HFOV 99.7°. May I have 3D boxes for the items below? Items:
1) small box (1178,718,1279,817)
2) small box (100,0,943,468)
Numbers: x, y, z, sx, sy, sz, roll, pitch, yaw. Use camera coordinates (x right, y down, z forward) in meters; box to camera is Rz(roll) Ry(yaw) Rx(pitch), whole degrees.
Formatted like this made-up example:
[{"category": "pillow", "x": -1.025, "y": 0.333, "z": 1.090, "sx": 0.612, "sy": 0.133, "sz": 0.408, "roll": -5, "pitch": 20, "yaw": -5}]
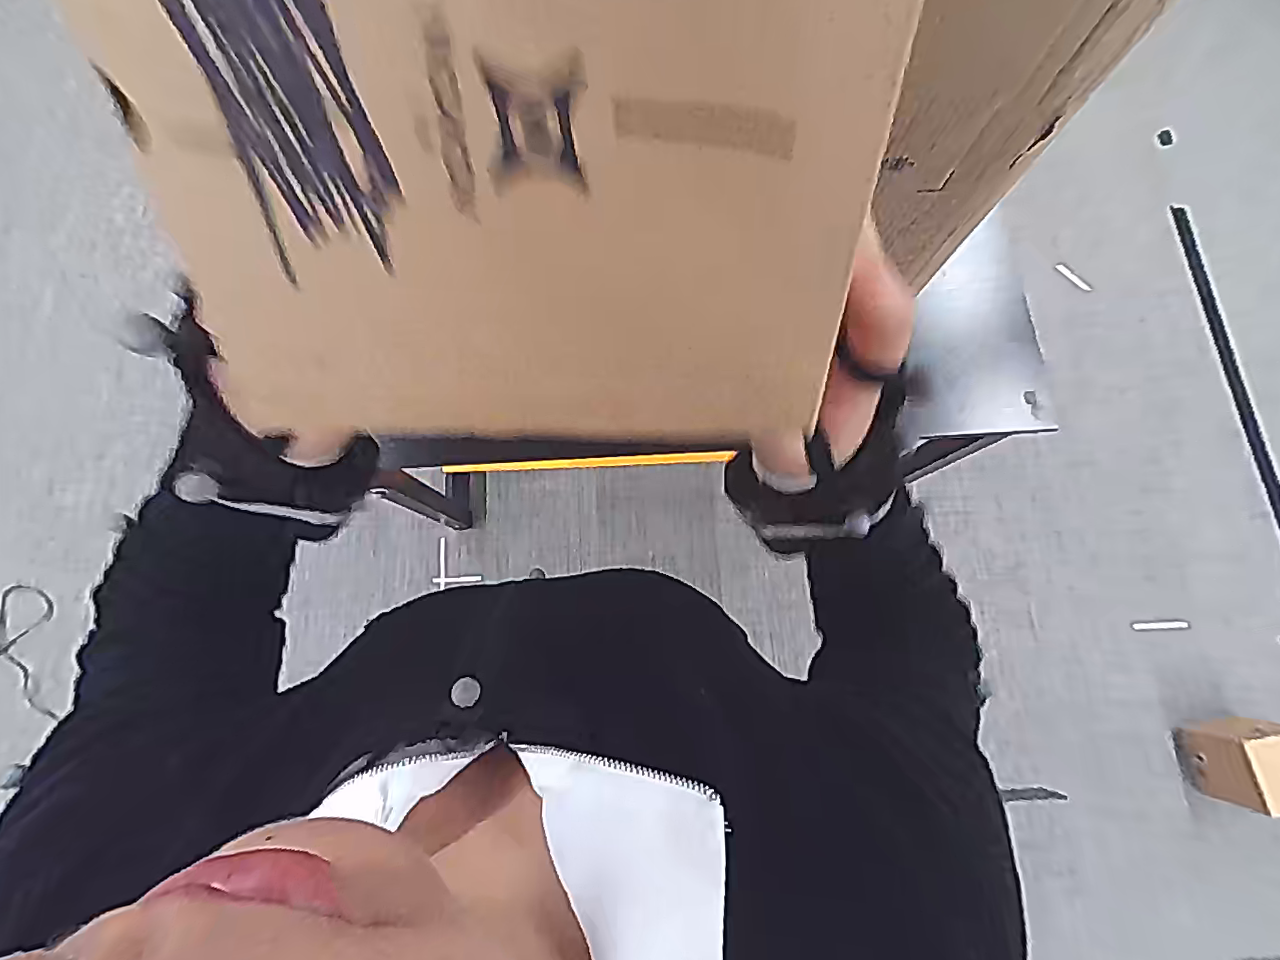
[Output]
[{"category": "small box", "x": 1.514, "y": 0.702, "z": 1.337, "sx": 0.179, "sy": 0.176, "sz": 0.168, "roll": -10, "pitch": 76, "yaw": -1}, {"category": "small box", "x": -0.023, "y": -0.124, "z": 0.188, "sx": 0.179, "sy": 0.168, "sz": 0.176, "roll": 4, "pitch": 39, "yaw": 1}]
